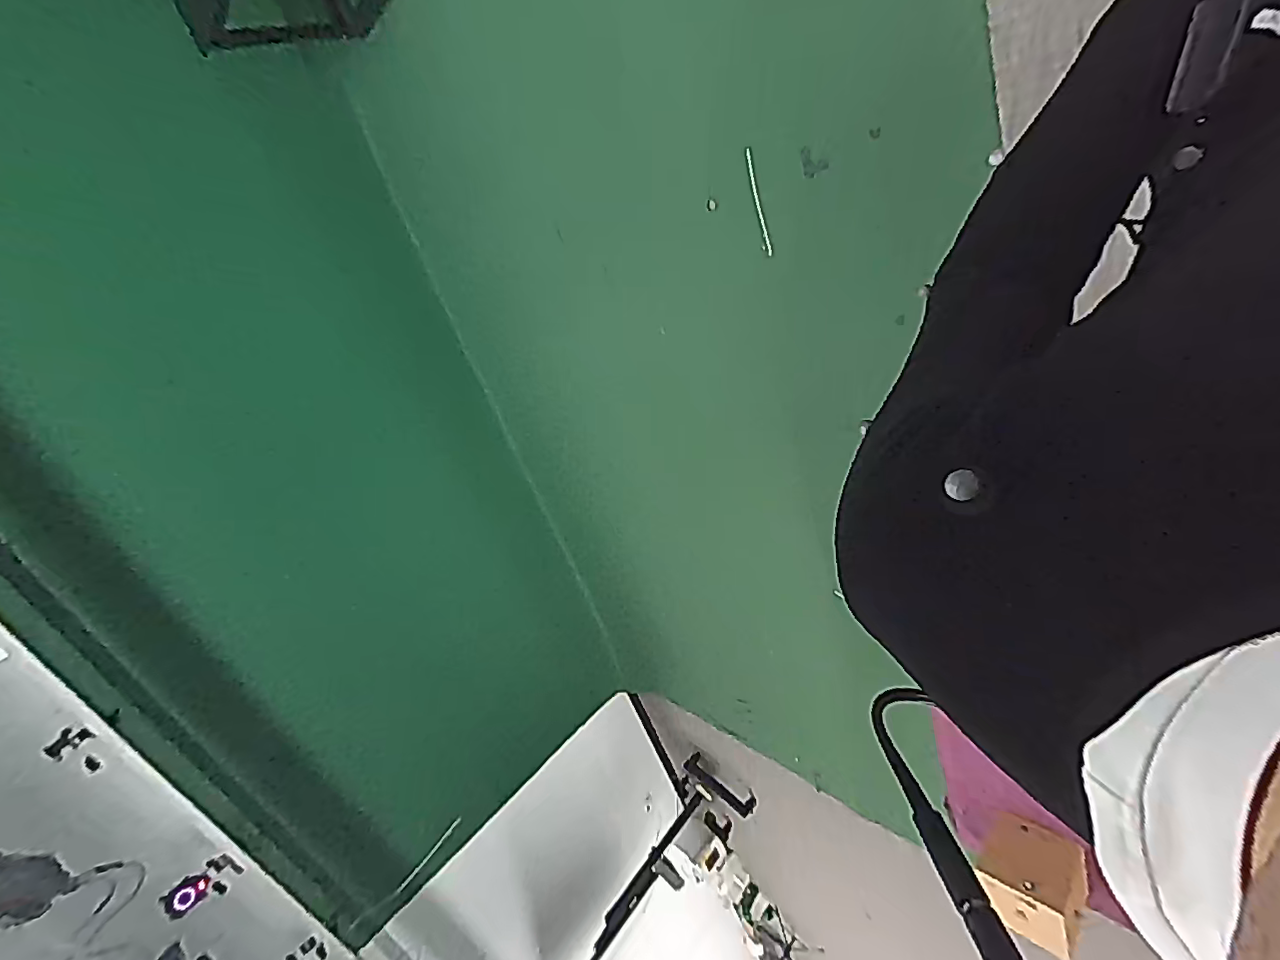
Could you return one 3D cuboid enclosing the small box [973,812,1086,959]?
[{"bbox_3d":[0.876,0.901,1.210,0.168,0.176,0.179,3,123,49],"label":"small box"}]
